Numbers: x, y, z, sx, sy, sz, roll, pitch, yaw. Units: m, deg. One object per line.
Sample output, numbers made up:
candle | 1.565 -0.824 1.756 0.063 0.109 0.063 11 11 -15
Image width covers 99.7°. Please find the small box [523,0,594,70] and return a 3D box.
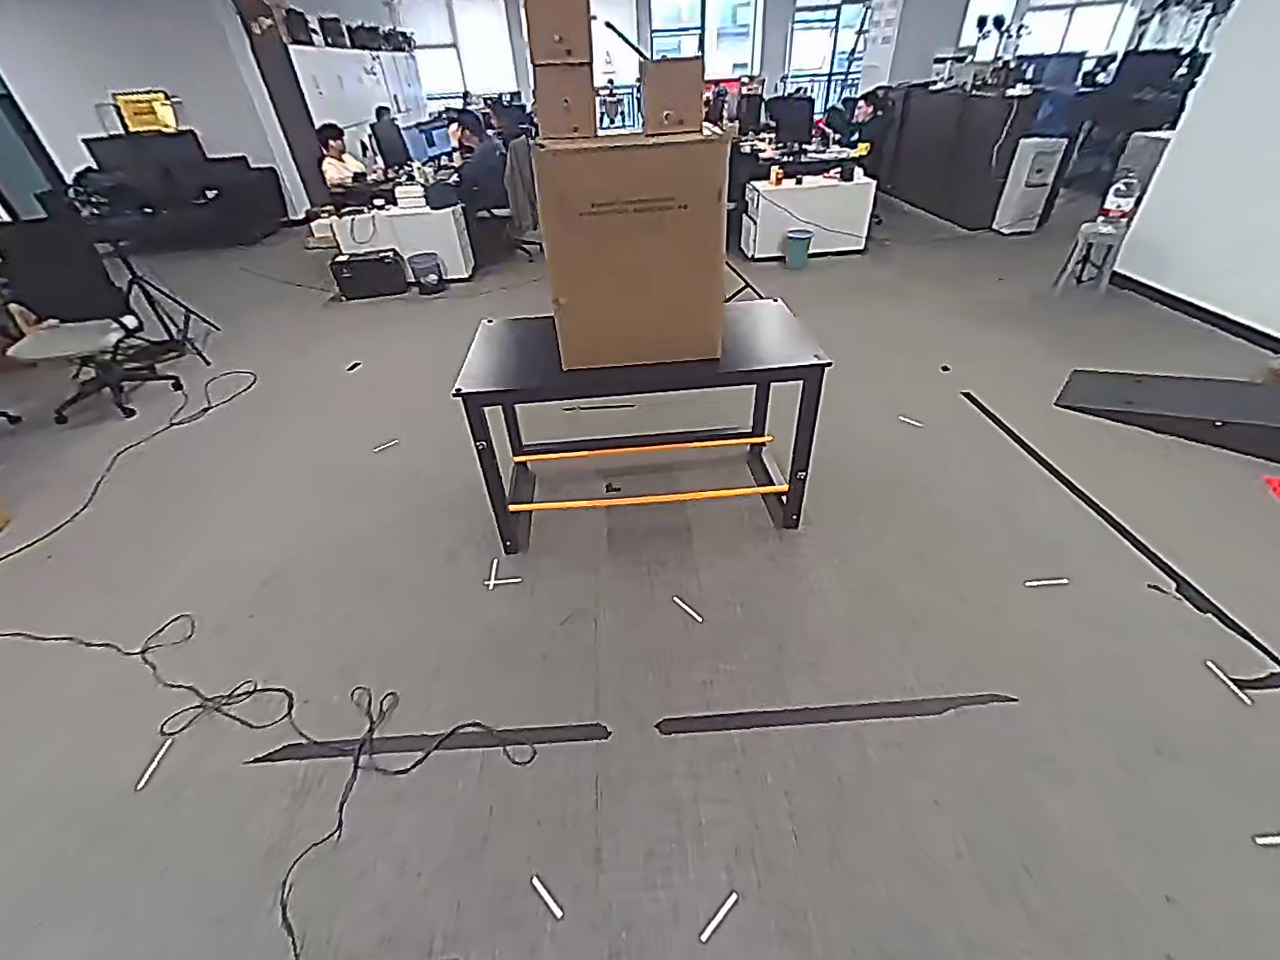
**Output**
small box | -0.212 -1.190 1.428 0.168 0.176 0.179 -3 38 -1

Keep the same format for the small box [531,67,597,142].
small box | -0.211 -1.068 1.541 0.168 0.176 0.179 -4 38 -3

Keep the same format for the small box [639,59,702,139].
small box | 0.084 -1.064 1.514 0.168 0.176 0.179 -5 38 2
